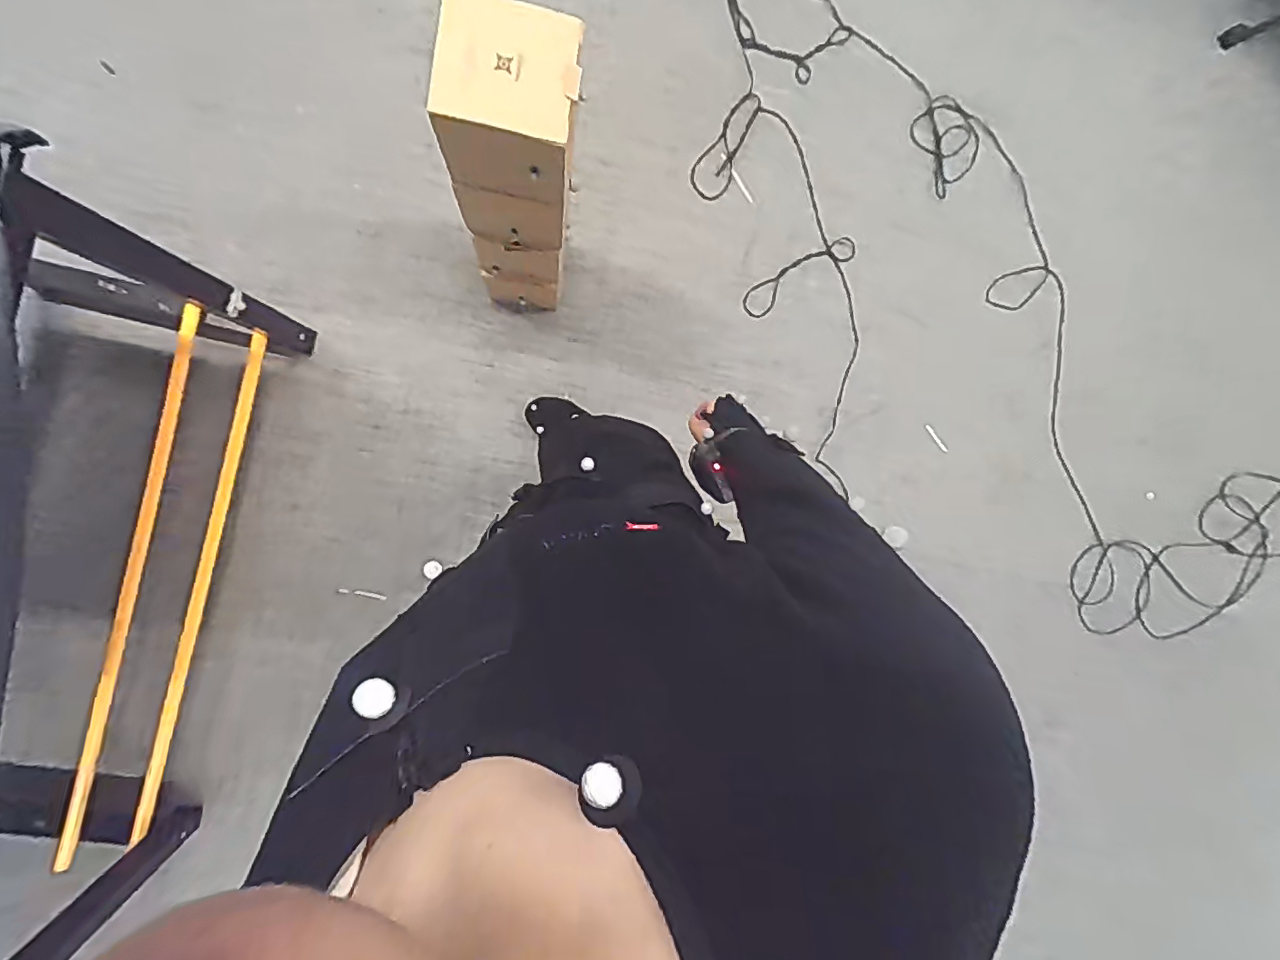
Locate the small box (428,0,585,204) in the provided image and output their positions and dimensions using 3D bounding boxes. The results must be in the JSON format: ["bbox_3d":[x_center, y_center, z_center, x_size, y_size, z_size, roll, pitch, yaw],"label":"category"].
[{"bbox_3d":[-0.178,-0.516,0.757,0.179,0.176,0.168,8,89,-8],"label":"small box"}]

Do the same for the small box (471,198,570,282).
[{"bbox_3d":[-0.231,-0.516,1.080,0.168,0.176,0.179,7,89,-9],"label":"small box"}]

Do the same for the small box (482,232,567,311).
[{"bbox_3d":[-0.259,-0.507,1.241,0.168,0.176,0.179,6,91,-8],"label":"small box"}]

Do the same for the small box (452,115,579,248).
[{"bbox_3d":[-0.206,-0.517,0.918,0.179,0.176,0.168,8,90,-10],"label":"small box"}]
